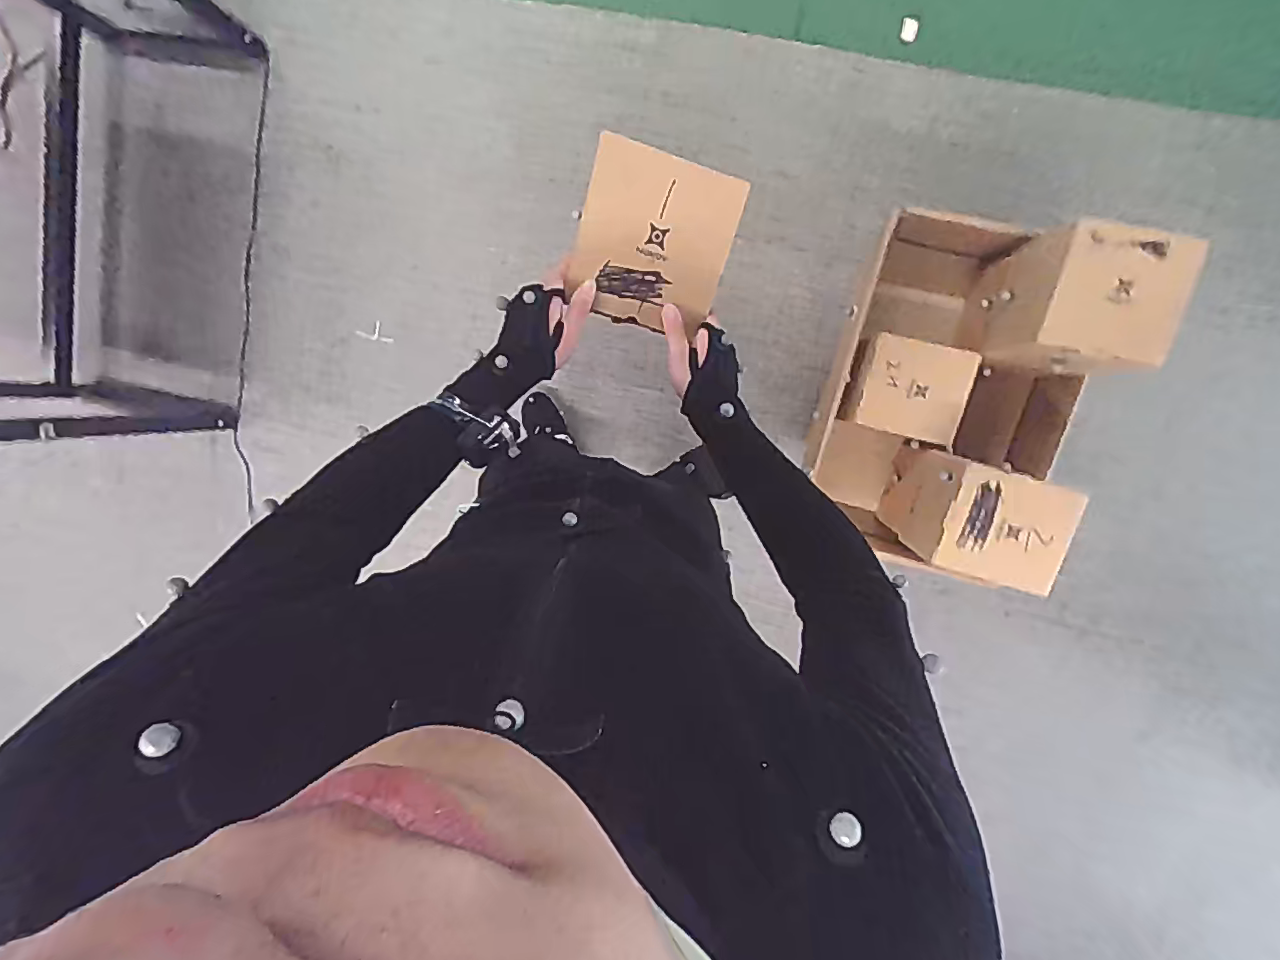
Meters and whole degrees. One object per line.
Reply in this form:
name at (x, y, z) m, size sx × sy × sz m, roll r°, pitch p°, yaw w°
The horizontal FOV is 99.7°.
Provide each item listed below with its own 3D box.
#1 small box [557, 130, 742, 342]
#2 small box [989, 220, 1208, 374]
small box at (0.002, -0.284, 0.657) m, size 0.168 × 0.176 × 0.179 m, roll 13°, pitch 109°, yaw -11°
small box at (0.672, -0.264, 0.823) m, size 0.168 × 0.176 × 0.179 m, roll 16°, pitch 101°, yaw 6°
